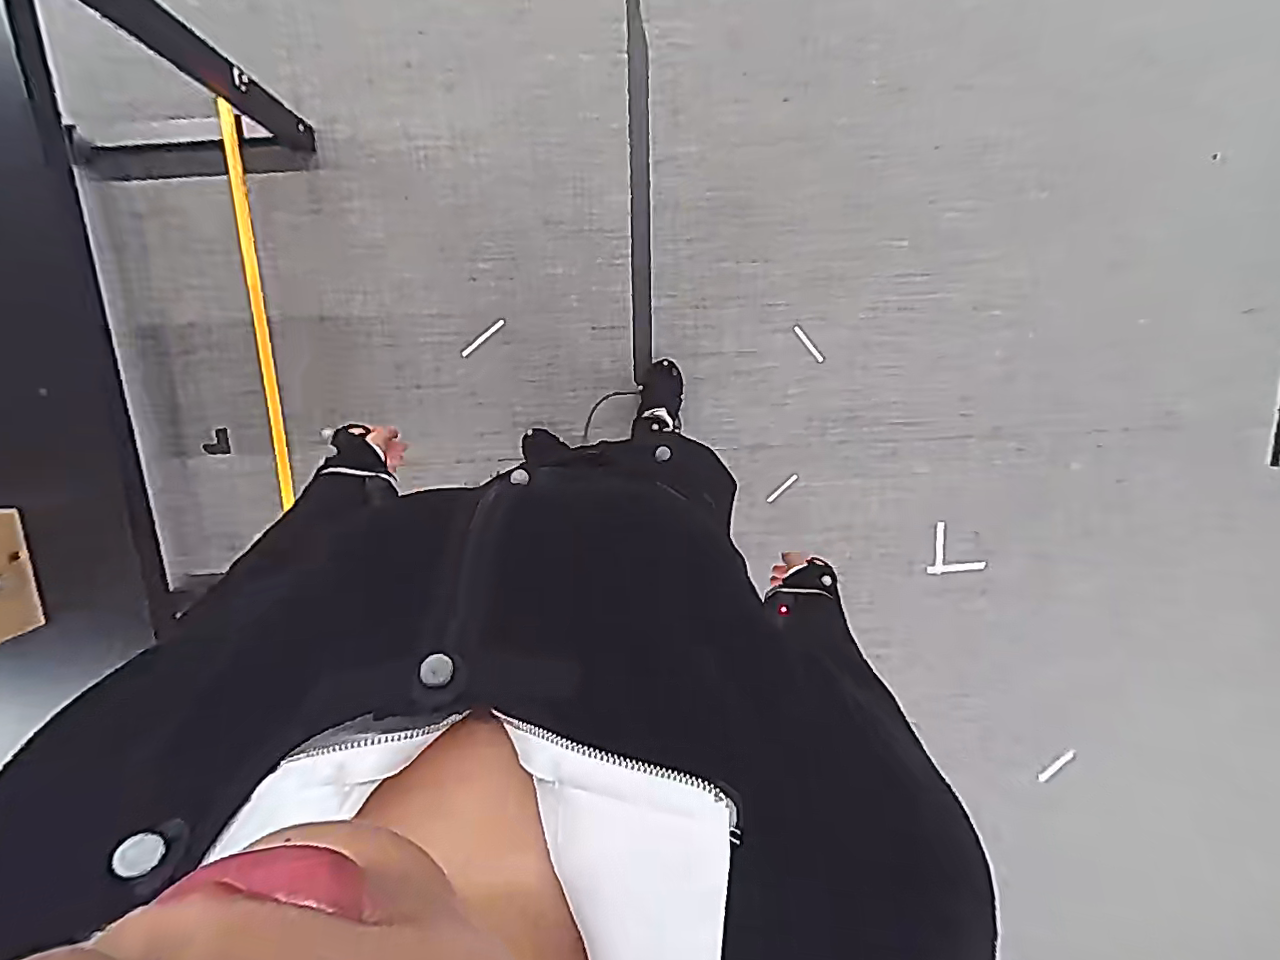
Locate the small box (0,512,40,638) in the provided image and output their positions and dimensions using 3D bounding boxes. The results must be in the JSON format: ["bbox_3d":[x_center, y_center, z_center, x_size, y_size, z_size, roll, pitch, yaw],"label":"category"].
[{"bbox_3d":[-0.906,0.137,0.648,0.179,0.176,0.168,-1,101,-3],"label":"small box"}]
